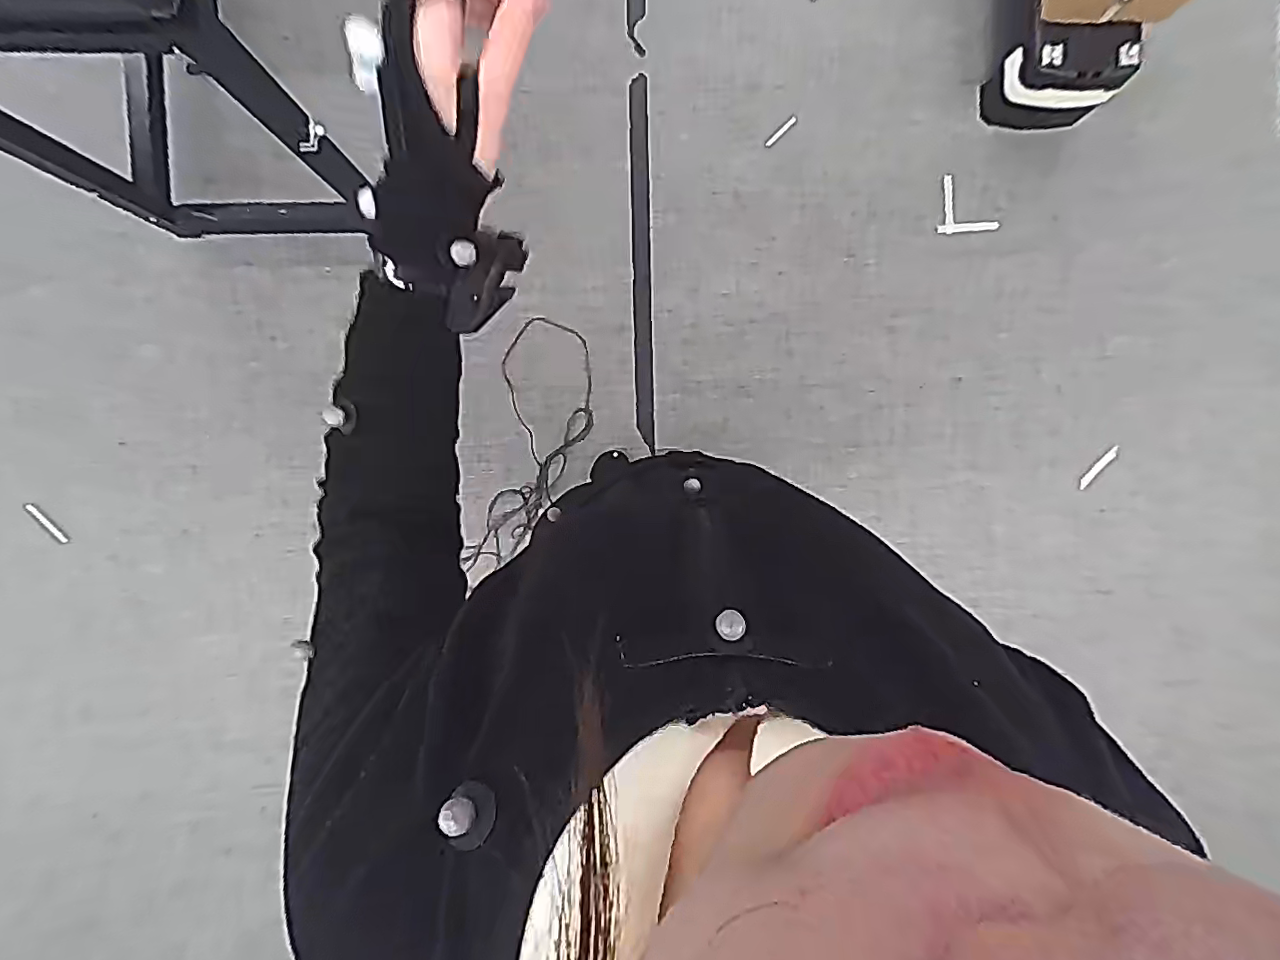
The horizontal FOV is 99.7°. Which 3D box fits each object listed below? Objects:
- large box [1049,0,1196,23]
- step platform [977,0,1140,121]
[{"bbox_3d":[1.121,-1.284,1.139,0.320,0.320,0.408,-1,92,-3],"label":"large box"},{"bbox_3d":[1.085,-1.324,1.374,0.286,0.204,0.684,4,92,-2],"label":"step platform"}]
